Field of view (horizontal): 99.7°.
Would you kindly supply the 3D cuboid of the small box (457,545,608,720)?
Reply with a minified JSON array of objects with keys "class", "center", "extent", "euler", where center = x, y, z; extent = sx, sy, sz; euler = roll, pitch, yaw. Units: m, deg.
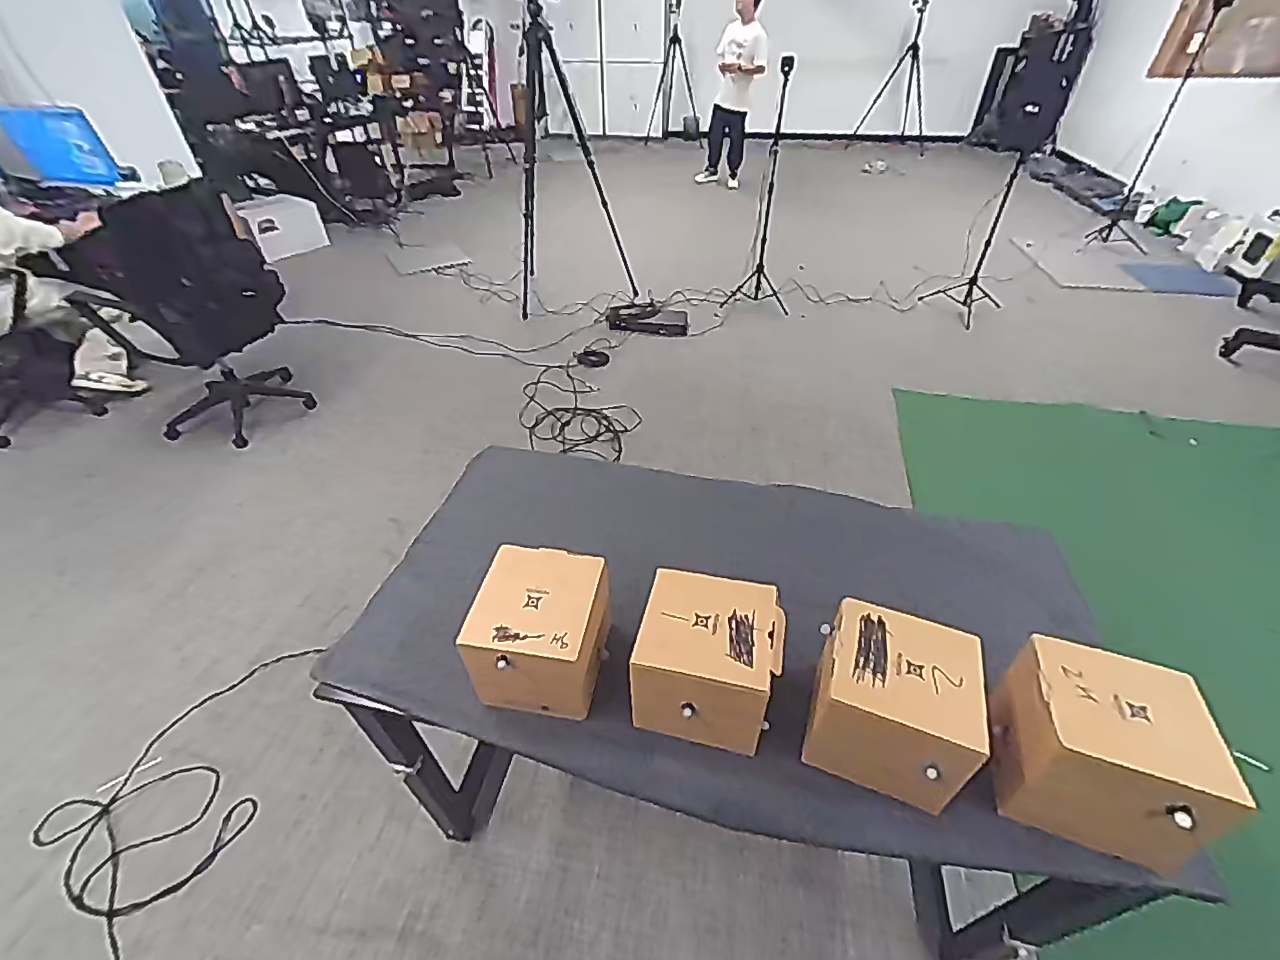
[{"class":"small box","center":[-0.145,0.225,0.807],"extent":[0.168,0.176,0.179],"euler":[6,41,9]}]
